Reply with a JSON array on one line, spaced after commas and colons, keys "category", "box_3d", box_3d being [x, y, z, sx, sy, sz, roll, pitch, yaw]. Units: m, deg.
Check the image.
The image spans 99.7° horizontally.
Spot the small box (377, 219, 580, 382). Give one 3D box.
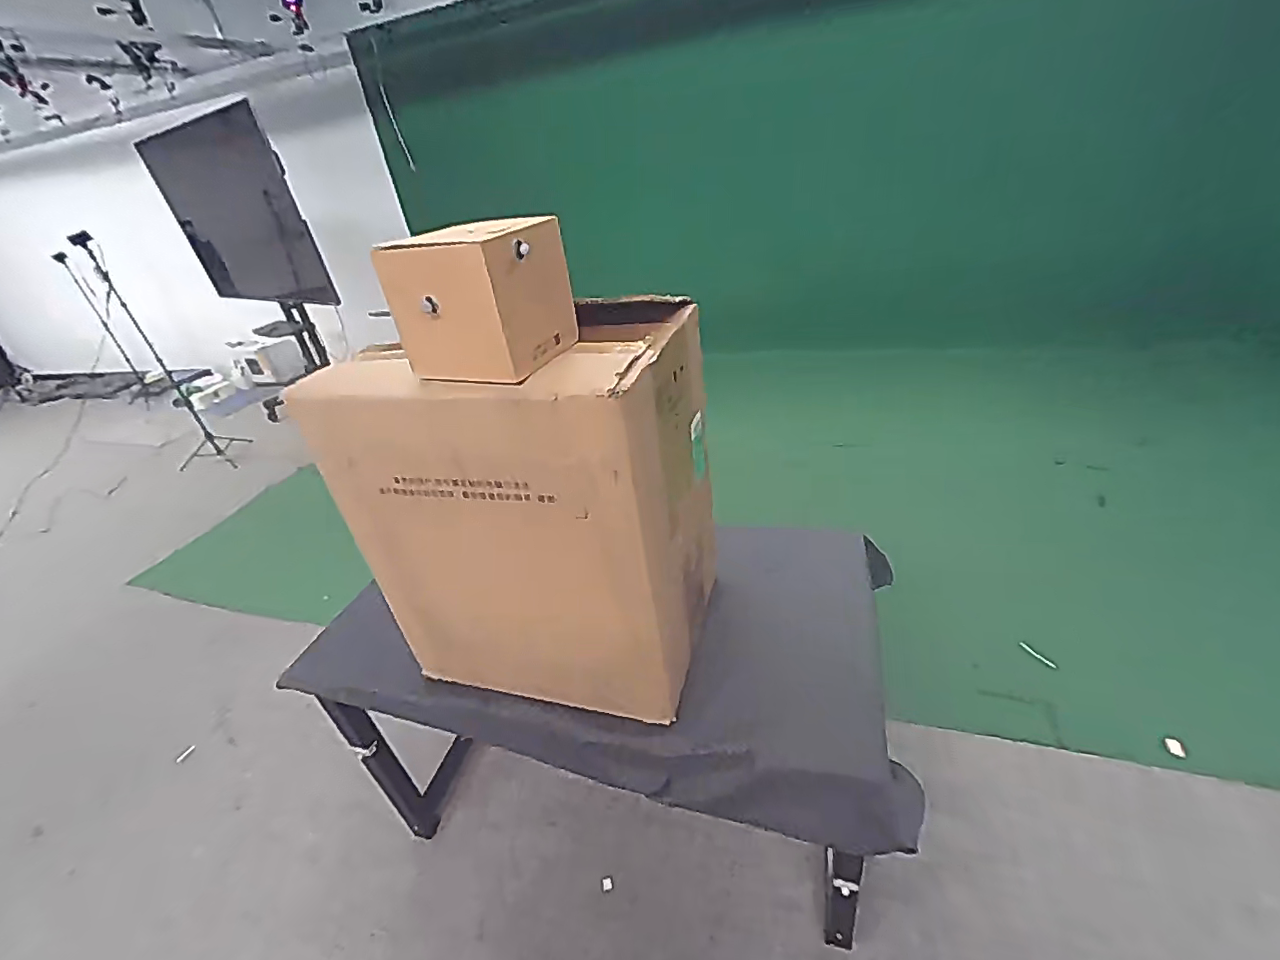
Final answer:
[{"category": "small box", "box_3d": [-0.204, -0.240, 0.726, 0.179, 0.176, 0.168, 7, 35, 24]}]
